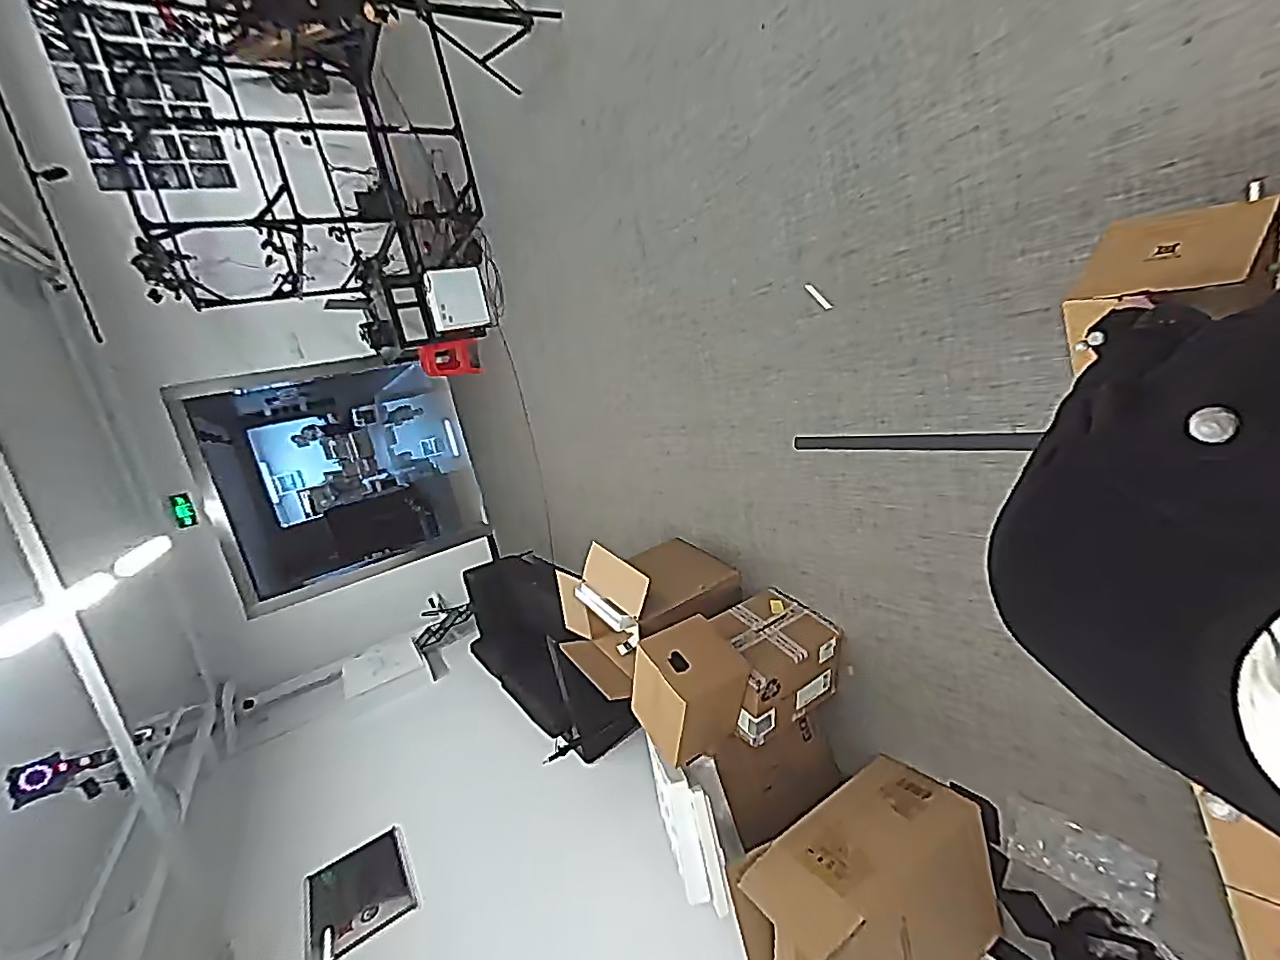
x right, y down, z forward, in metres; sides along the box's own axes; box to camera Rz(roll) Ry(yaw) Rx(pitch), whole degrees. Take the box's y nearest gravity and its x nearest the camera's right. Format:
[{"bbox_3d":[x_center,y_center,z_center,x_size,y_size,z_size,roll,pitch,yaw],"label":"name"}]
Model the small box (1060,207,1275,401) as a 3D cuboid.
[{"bbox_3d":[0.699,-0.222,0.721,0.168,0.179,0.176,15,148,53],"label":"small box"}]
